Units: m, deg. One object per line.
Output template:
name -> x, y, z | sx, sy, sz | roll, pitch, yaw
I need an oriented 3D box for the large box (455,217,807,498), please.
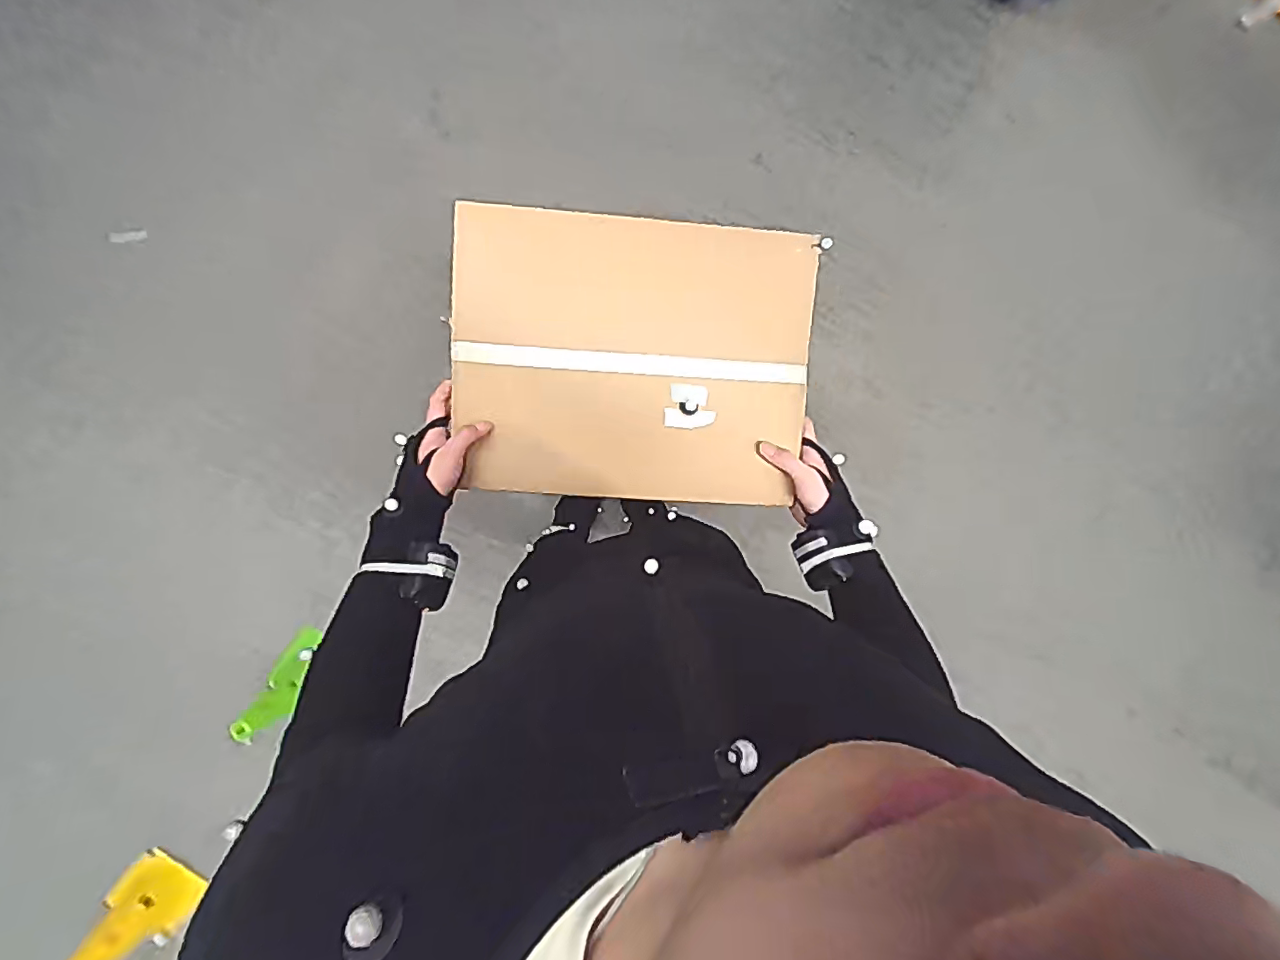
large box -> -0.023, -0.151, 0.771 | 0.408, 0.320, 0.320 | 1, 98, -5

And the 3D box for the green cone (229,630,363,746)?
green cone -> -0.915, 0.562, 1.384 | 0.200, 0.368, 0.202 | 36, 89, -5
